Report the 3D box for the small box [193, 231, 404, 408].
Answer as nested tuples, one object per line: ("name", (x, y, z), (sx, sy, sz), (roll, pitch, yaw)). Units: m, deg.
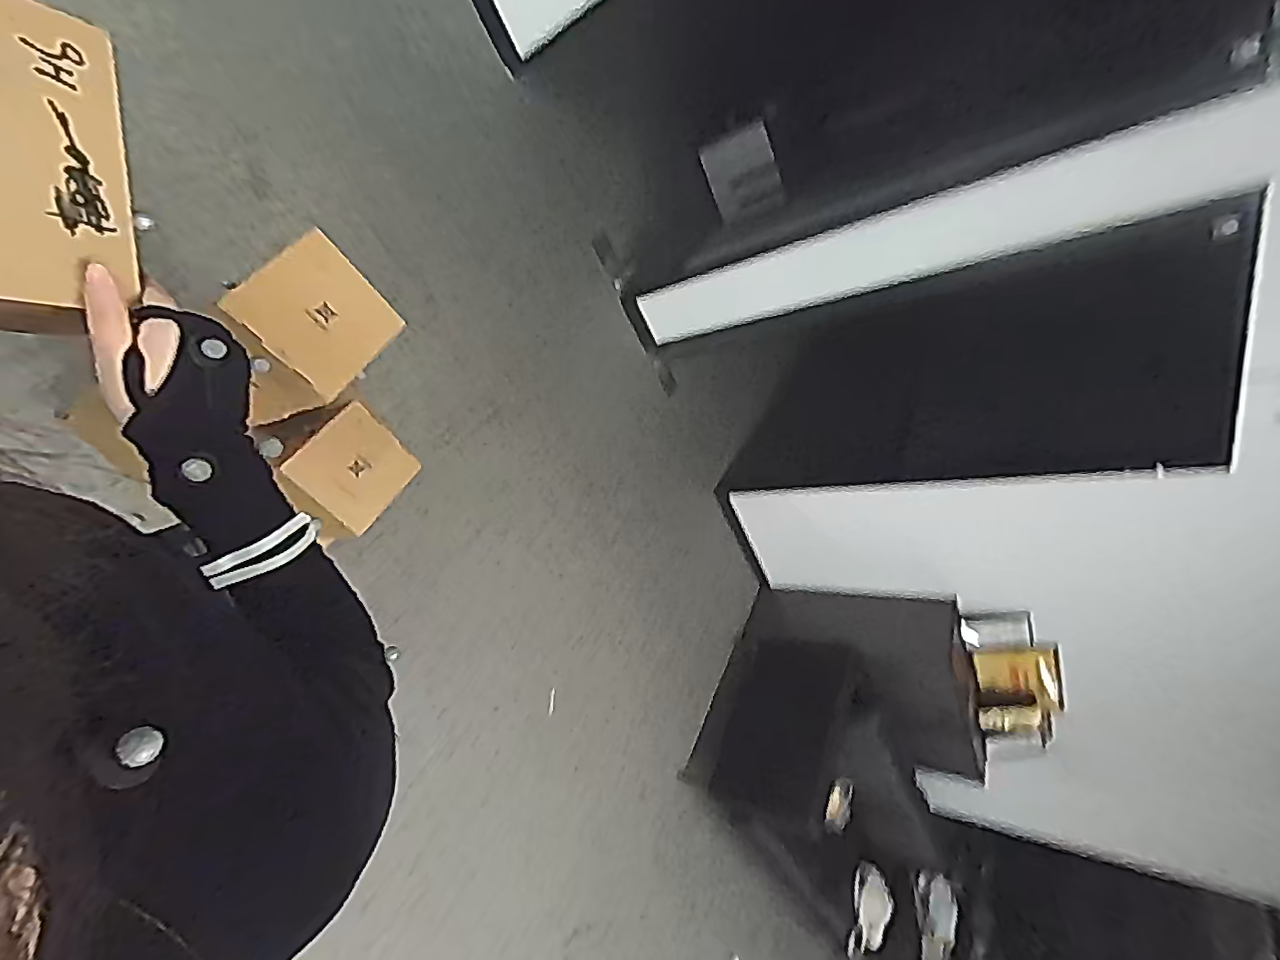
("small box", (-0.497, -0.226, 0.791), (0.168, 0.176, 0.179), (53, 50, -36))
